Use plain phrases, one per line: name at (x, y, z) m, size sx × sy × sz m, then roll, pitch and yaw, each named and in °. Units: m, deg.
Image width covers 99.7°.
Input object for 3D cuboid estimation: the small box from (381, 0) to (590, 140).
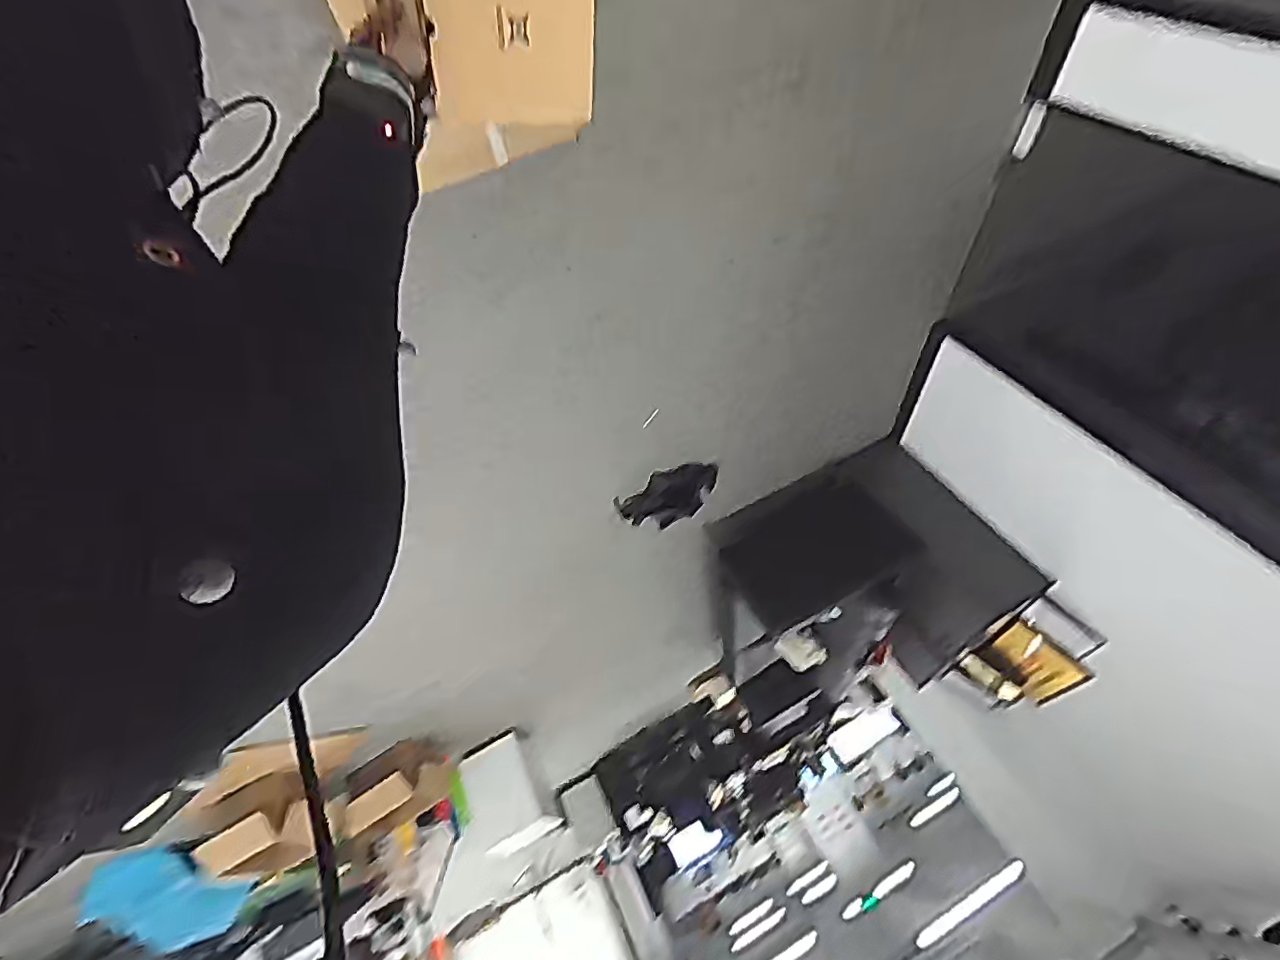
small box at (-0.167, -0.488, 0.579) m, size 0.179 × 0.176 × 0.168 m, roll -18°, pitch 143°, yaw -22°
